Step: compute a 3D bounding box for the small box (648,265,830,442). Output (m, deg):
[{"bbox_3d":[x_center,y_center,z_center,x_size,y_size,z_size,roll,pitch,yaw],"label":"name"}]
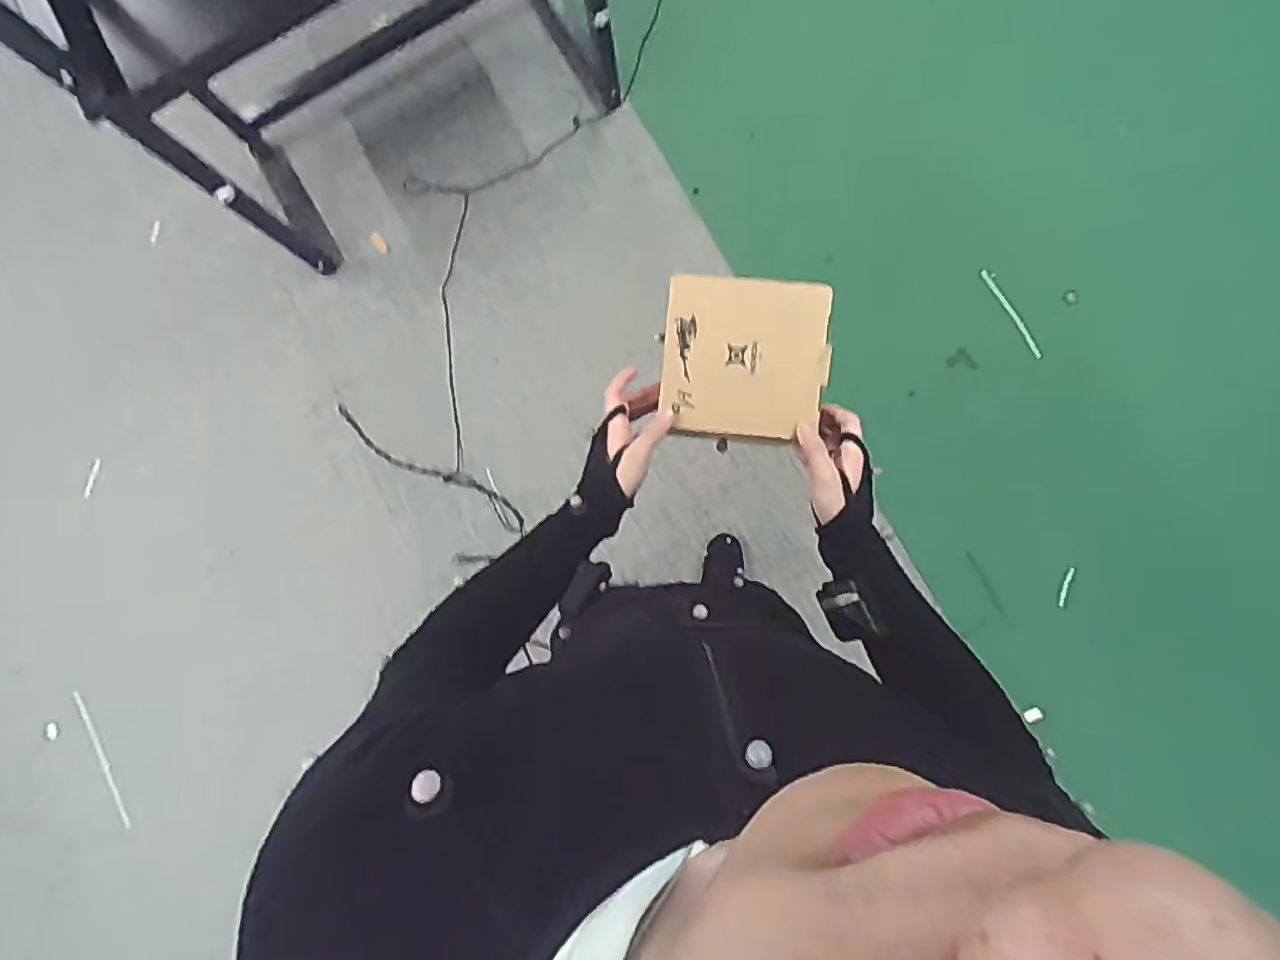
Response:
[{"bbox_3d":[0.105,-0.138,0.649,0.179,0.176,0.168,6,90,1],"label":"small box"}]
